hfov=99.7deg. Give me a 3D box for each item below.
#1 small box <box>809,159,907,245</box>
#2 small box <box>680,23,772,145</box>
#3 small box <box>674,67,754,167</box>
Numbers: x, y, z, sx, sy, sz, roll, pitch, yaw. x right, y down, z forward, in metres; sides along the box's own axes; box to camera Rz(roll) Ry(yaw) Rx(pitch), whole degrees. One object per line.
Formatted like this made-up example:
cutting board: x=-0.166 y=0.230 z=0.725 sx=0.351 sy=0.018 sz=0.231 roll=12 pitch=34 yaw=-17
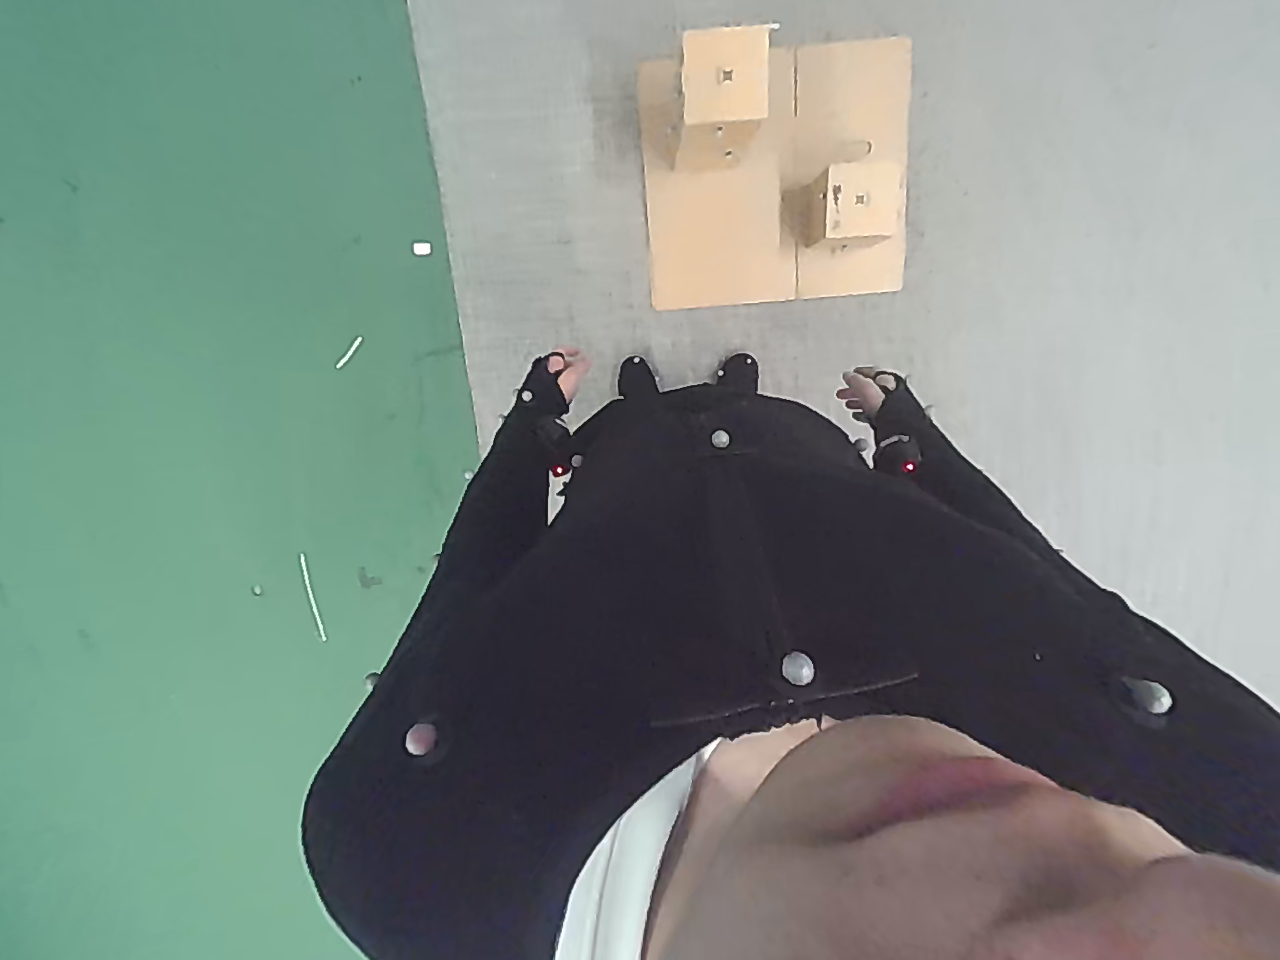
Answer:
small box: x=0.543 y=-0.696 z=1.367 sx=0.179 sy=0.176 sz=0.168 roll=-1 pitch=105 yaw=2
small box: x=0.180 y=-0.843 z=1.166 sx=0.179 sy=0.176 sz=0.168 roll=-3 pitch=105 yaw=3
small box: x=0.177 y=-0.884 z=1.323 sx=0.179 sy=0.176 sz=0.168 roll=-2 pitch=104 yaw=2
